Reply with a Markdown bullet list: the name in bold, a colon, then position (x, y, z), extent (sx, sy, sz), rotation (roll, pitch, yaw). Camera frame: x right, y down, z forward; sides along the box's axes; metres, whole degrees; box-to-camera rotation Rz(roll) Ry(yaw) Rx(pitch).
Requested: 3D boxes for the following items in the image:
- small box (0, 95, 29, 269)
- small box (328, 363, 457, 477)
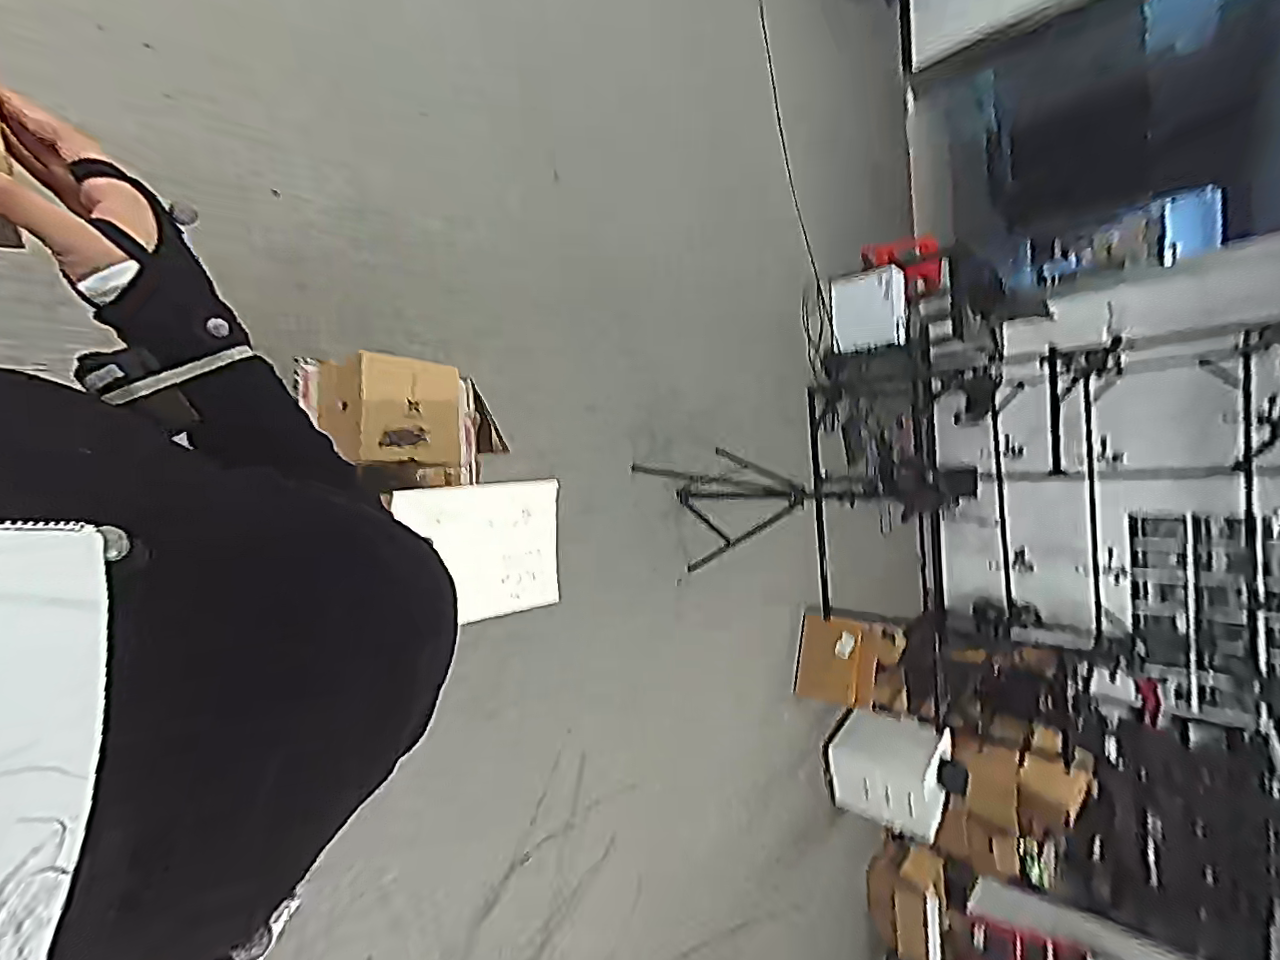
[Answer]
- **small box**: position (-0.500, -0.226, 0.312), extent (0.179, 0.176, 0.168), rotation (-13, 103, -46)
- **small box**: position (-0.449, -0.097, 0.979), extent (0.168, 0.176, 0.179), rotation (3, 85, -45)
